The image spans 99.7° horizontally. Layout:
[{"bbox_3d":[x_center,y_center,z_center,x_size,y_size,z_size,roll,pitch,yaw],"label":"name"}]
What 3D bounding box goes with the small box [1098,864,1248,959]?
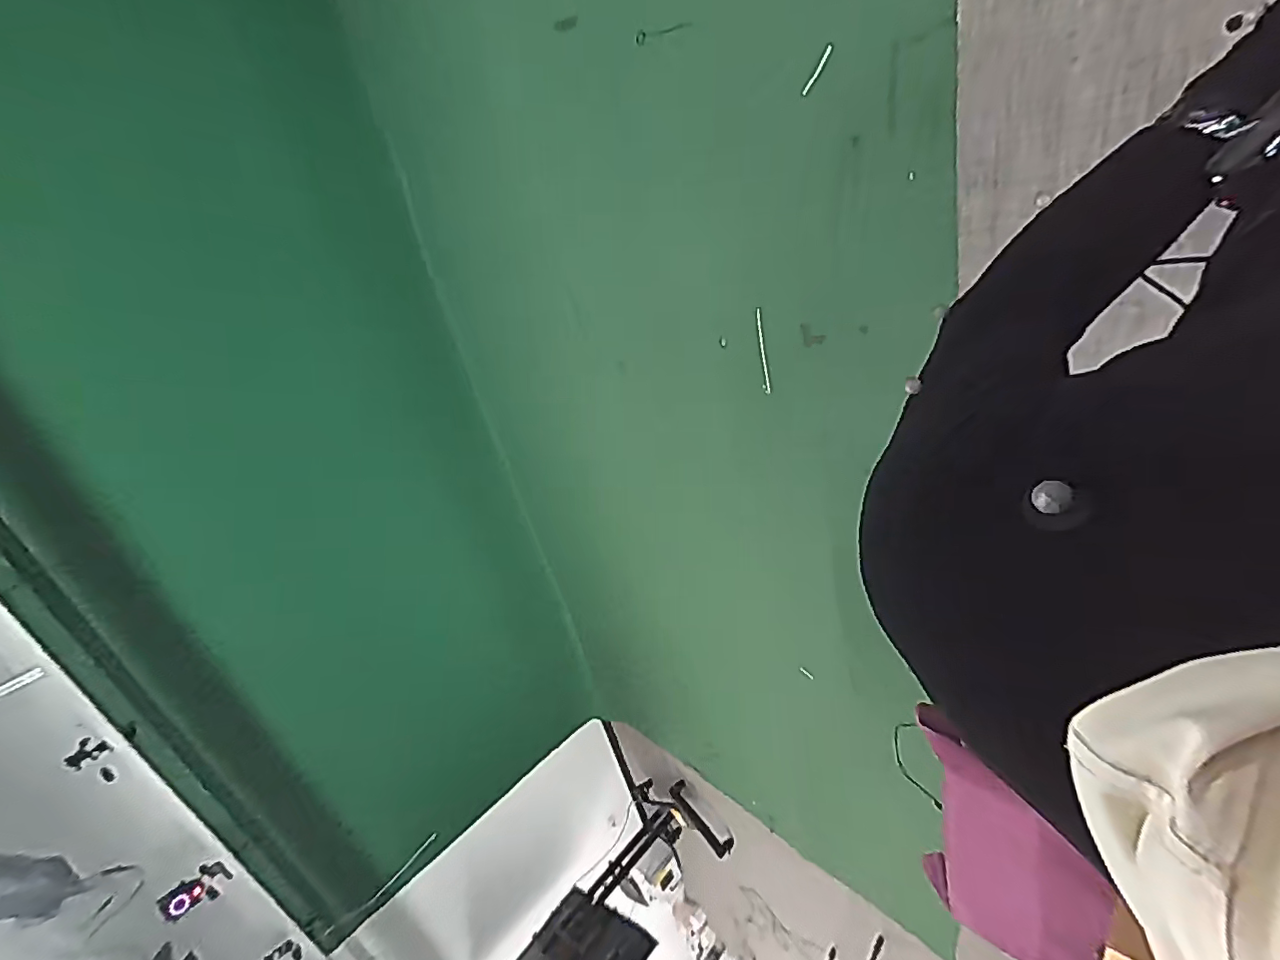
[{"bbox_3d":[0.927,0.839,0.948,0.168,0.176,0.179,12,127,46],"label":"small box"}]
